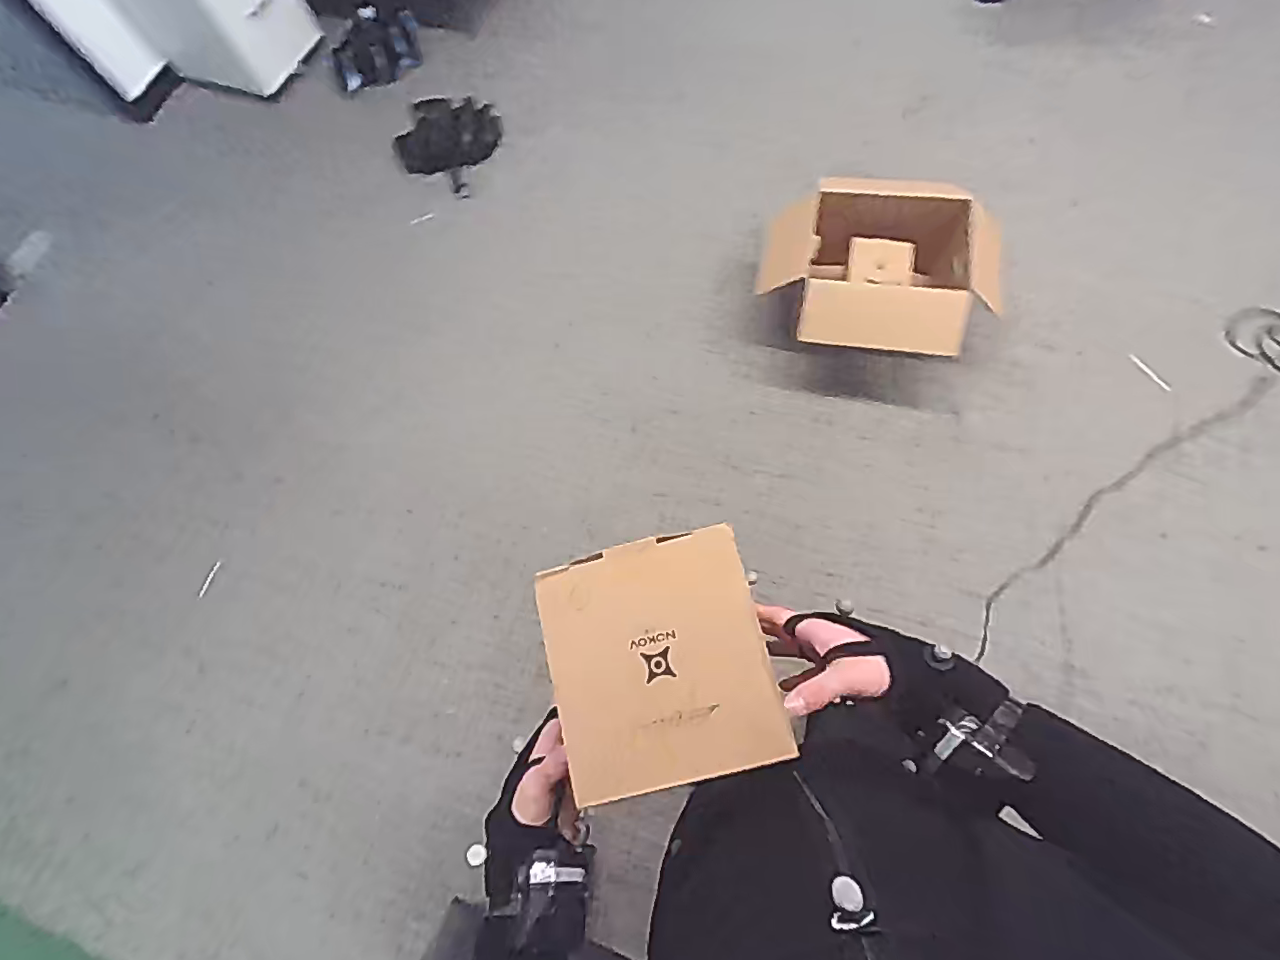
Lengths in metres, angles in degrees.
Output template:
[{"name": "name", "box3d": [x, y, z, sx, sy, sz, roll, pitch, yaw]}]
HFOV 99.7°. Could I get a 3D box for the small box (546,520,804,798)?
[{"name": "small box", "box3d": [0.029, 0.150, 0.483, 0.168, 0.176, 0.179, -14, 75, 4]}]
